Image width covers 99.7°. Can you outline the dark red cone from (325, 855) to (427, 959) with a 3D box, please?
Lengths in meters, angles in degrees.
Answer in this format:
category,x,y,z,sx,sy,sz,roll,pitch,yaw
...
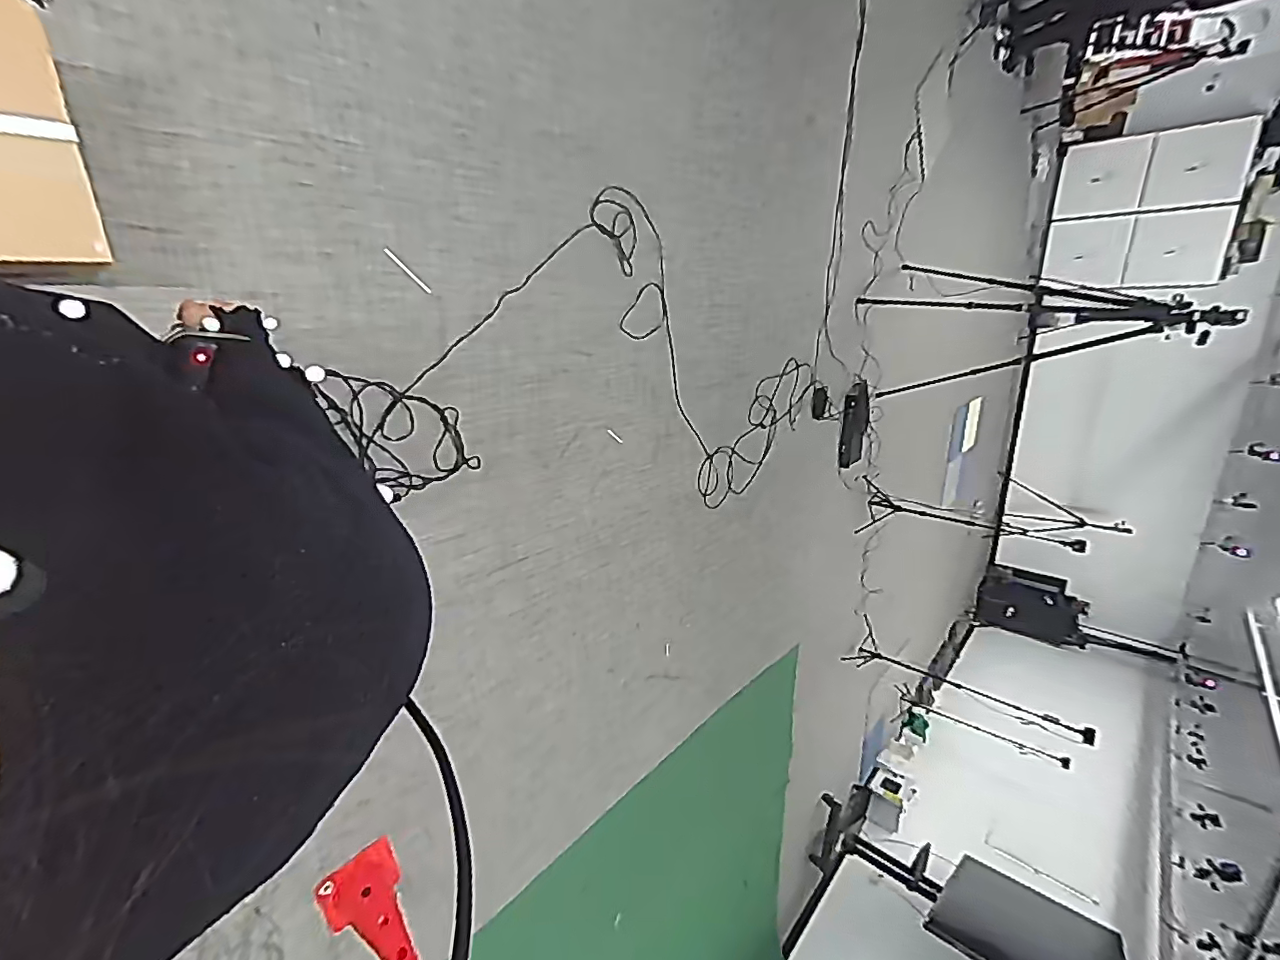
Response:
category,x,y,z,sx,sy,sz,roll,pitch,yaw
dark red cone,-0.629,1.201,1.394,0.202,0.394,0.201,-27,122,-41
